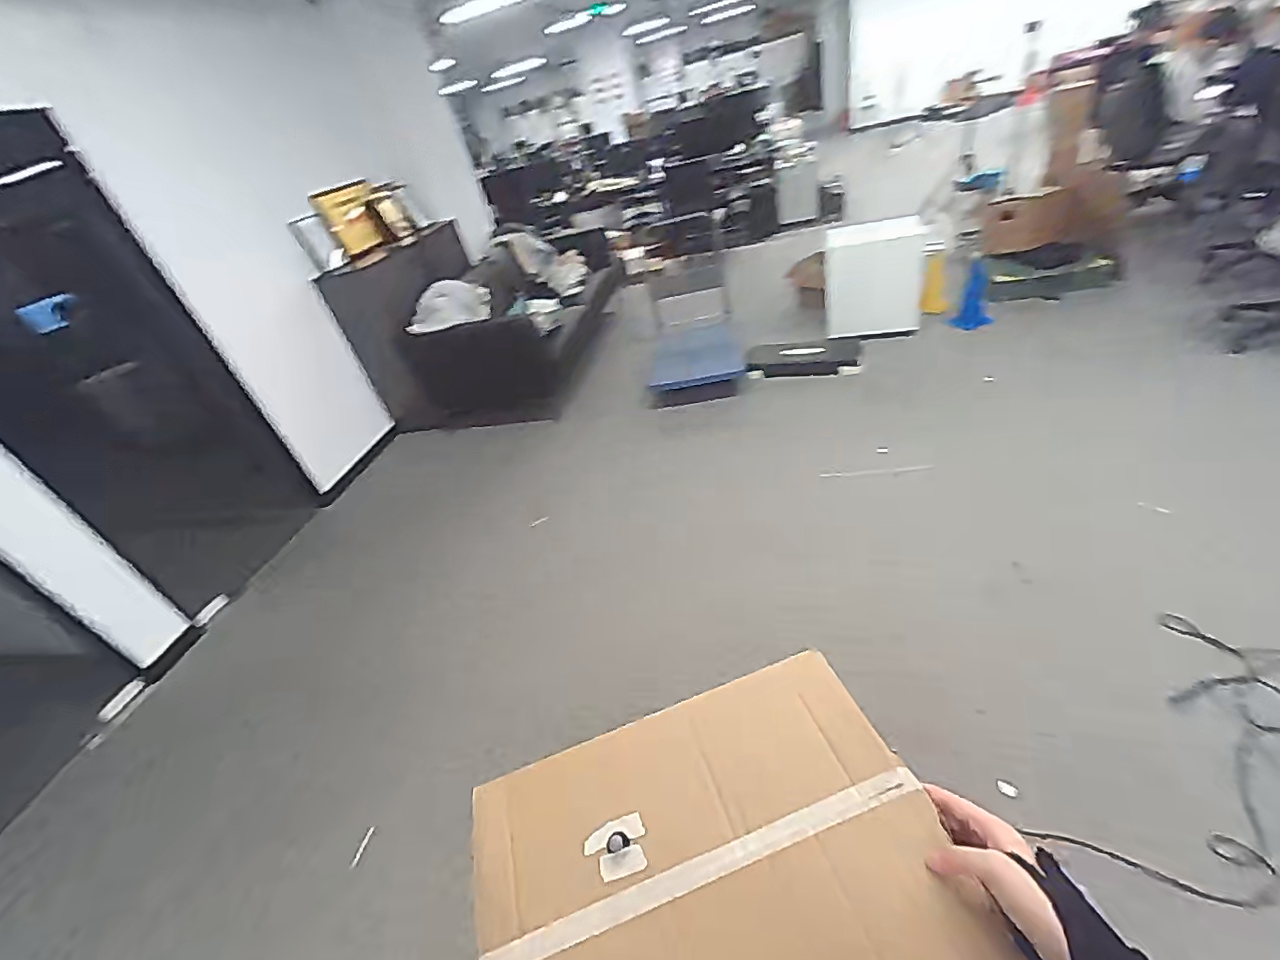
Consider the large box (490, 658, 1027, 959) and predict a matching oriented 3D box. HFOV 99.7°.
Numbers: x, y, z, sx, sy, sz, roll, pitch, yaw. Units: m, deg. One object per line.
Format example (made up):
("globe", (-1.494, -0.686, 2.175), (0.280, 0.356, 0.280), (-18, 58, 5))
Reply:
("large box", (0.102, 0.465, 0.568), (0.408, 0.320, 0.320), (-21, 37, -4))
